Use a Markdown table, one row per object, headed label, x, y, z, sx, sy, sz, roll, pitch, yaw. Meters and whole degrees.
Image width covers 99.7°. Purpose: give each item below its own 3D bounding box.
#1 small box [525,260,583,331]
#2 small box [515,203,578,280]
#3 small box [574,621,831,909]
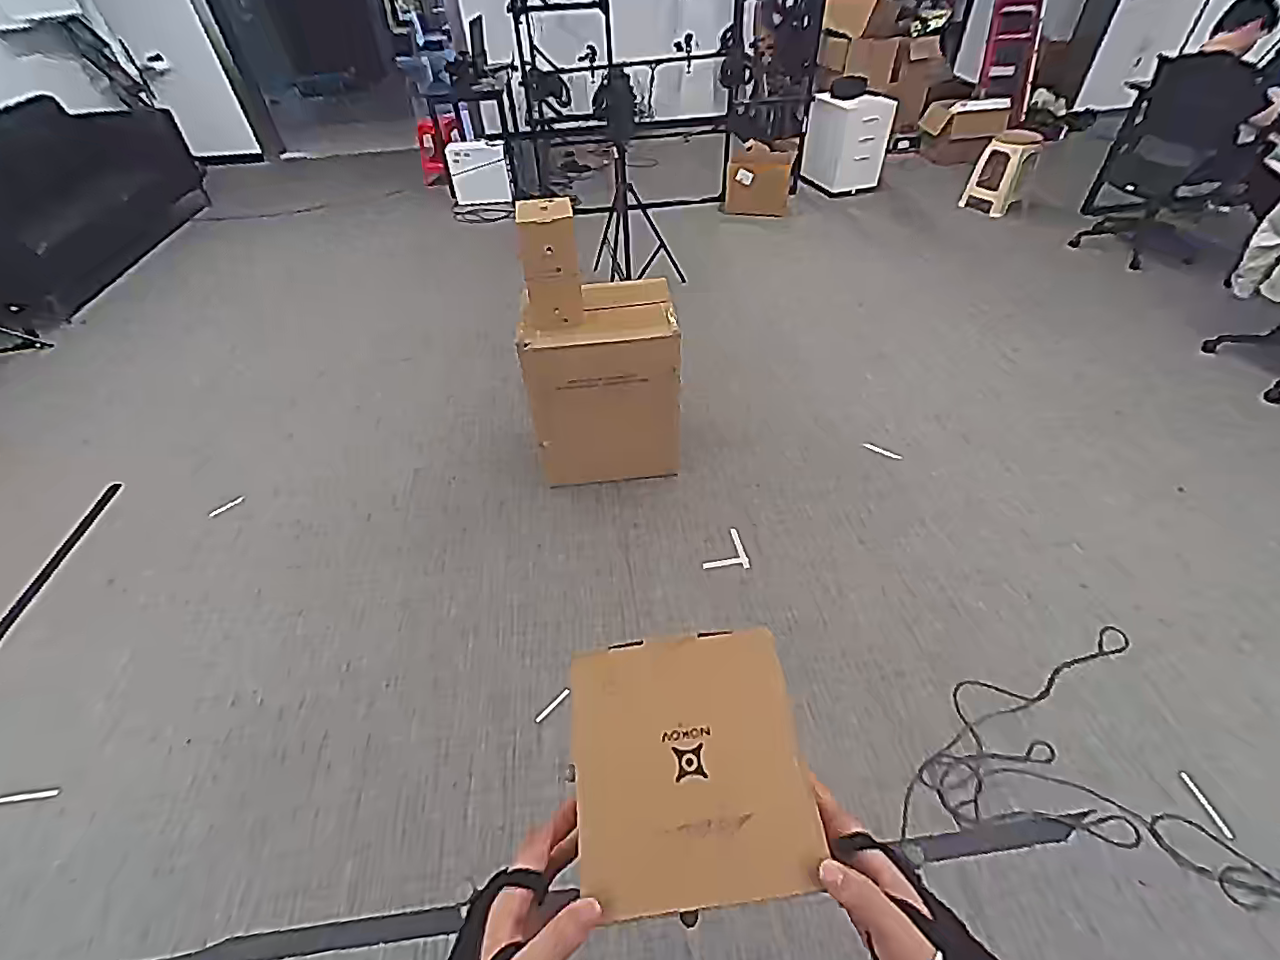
| label | x | y | z | sx | sy | sz | roll | pitch | yaw |
| --- | --- | --- | --- | --- | --- | --- | --- | --- | --- |
| small box | -0.279 | -0.608 | 1.771 | 0.168 | 0.176 | 0.179 | -7 | 46 | -4 |
| small box | -0.286 | -0.725 | 1.656 | 0.168 | 0.176 | 0.179 | -8 | 46 | -6 |
| small box | 0.037 | 0.241 | 0.459 | 0.168 | 0.176 | 0.179 | -7 | 55 | -2 |
